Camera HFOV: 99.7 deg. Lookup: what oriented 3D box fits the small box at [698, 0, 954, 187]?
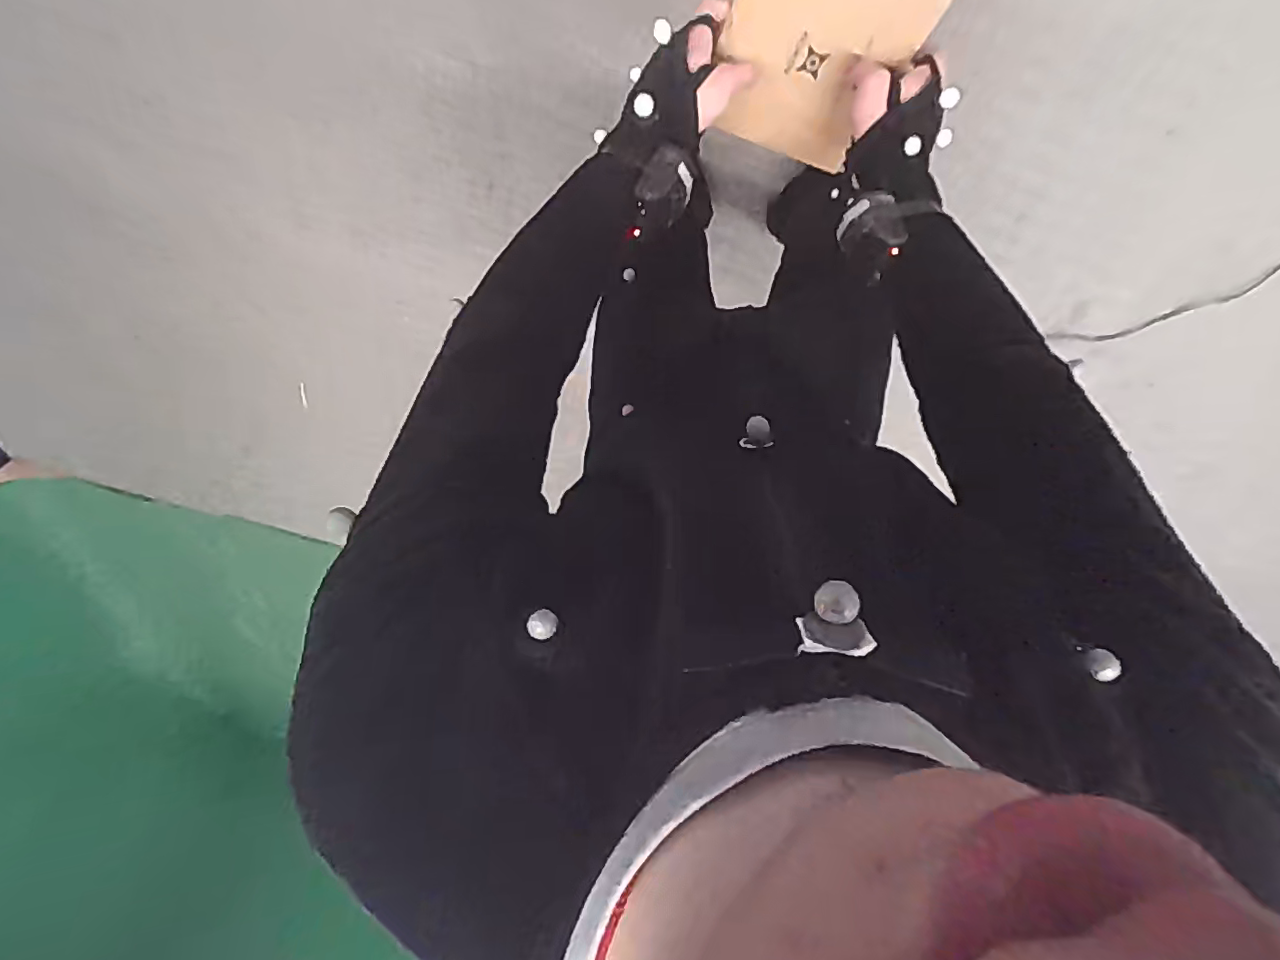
[{"bbox_3d":[0.167,-0.445,0.547,0.179,0.176,0.168,10,151,-15],"label":"small box"}]
